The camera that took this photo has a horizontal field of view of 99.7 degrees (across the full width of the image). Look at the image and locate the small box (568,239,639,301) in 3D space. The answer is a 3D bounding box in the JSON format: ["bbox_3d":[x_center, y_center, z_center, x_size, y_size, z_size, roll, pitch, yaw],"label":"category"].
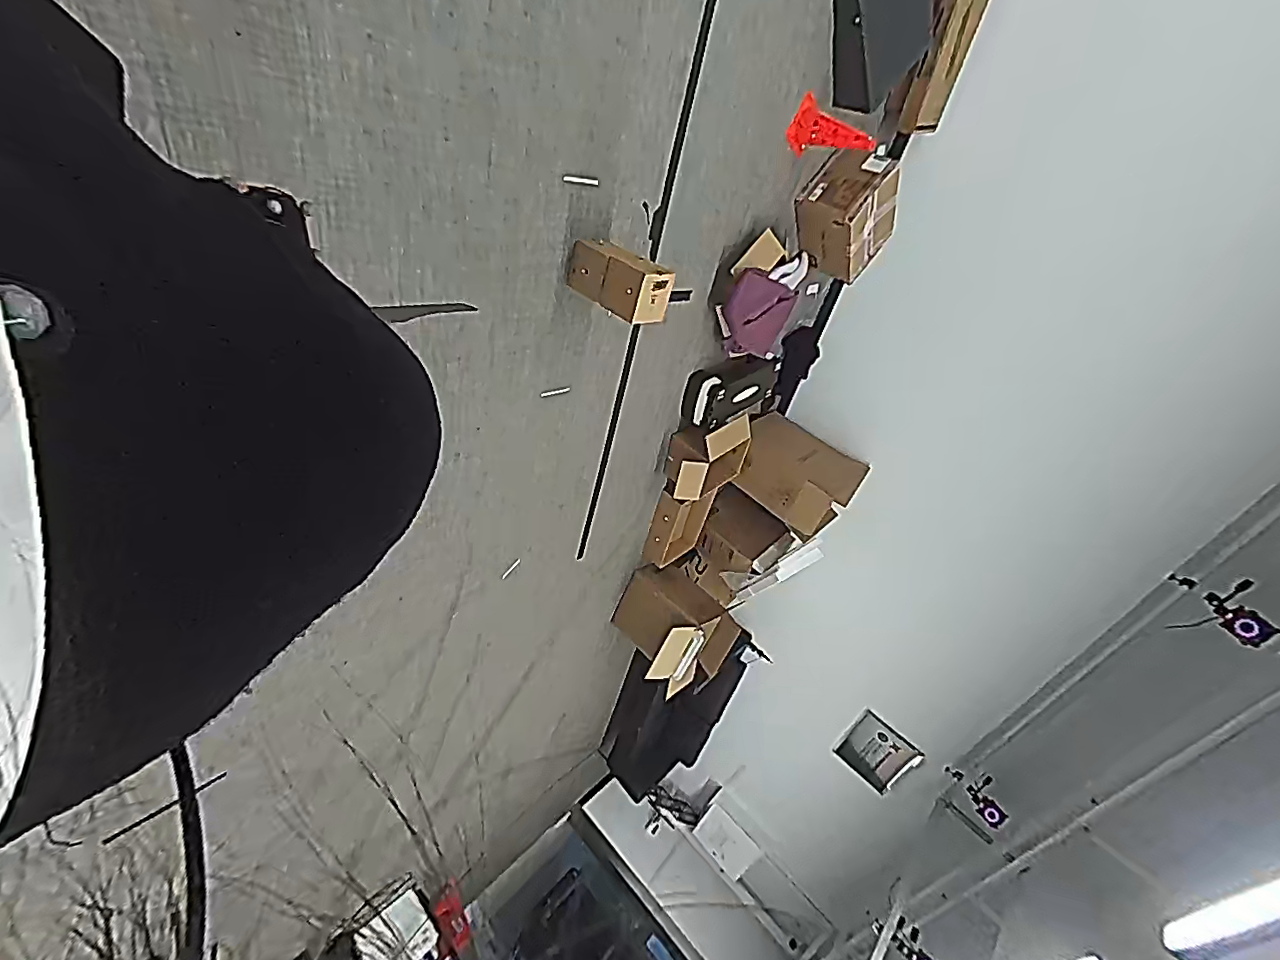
[{"bbox_3d":[-0.136,-0.756,1.948,0.179,0.176,0.168,-21,139,-44],"label":"small box"}]

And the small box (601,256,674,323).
[{"bbox_3d":[-0.014,-0.666,1.878,0.168,0.176,0.179,-22,141,-45],"label":"small box"}]
